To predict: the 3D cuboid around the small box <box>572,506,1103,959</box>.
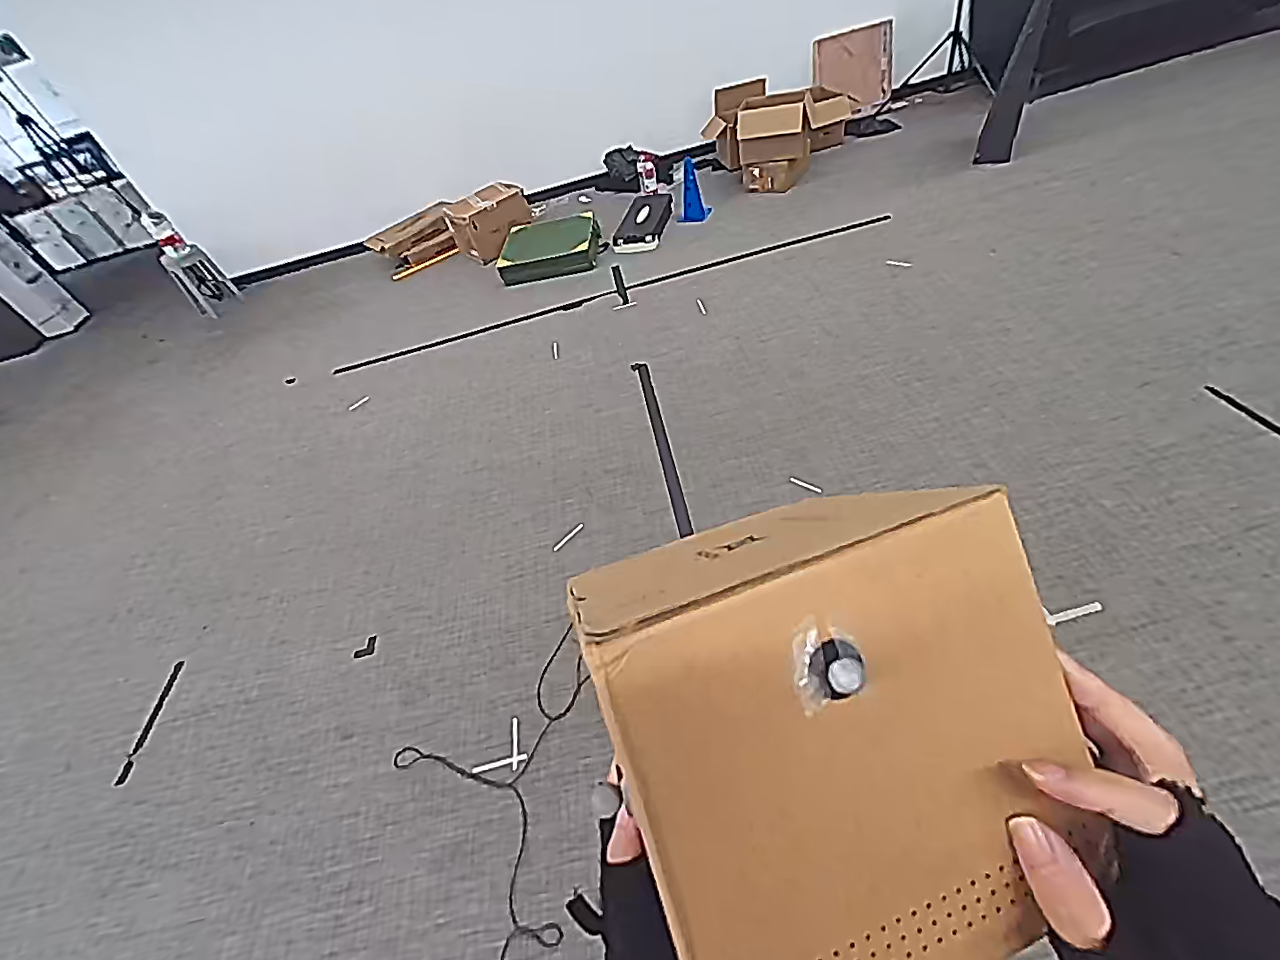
[{"bbox_3d":[0.075,0.120,0.274,0.179,0.168,0.176,-17,89,-10],"label":"small box"}]
